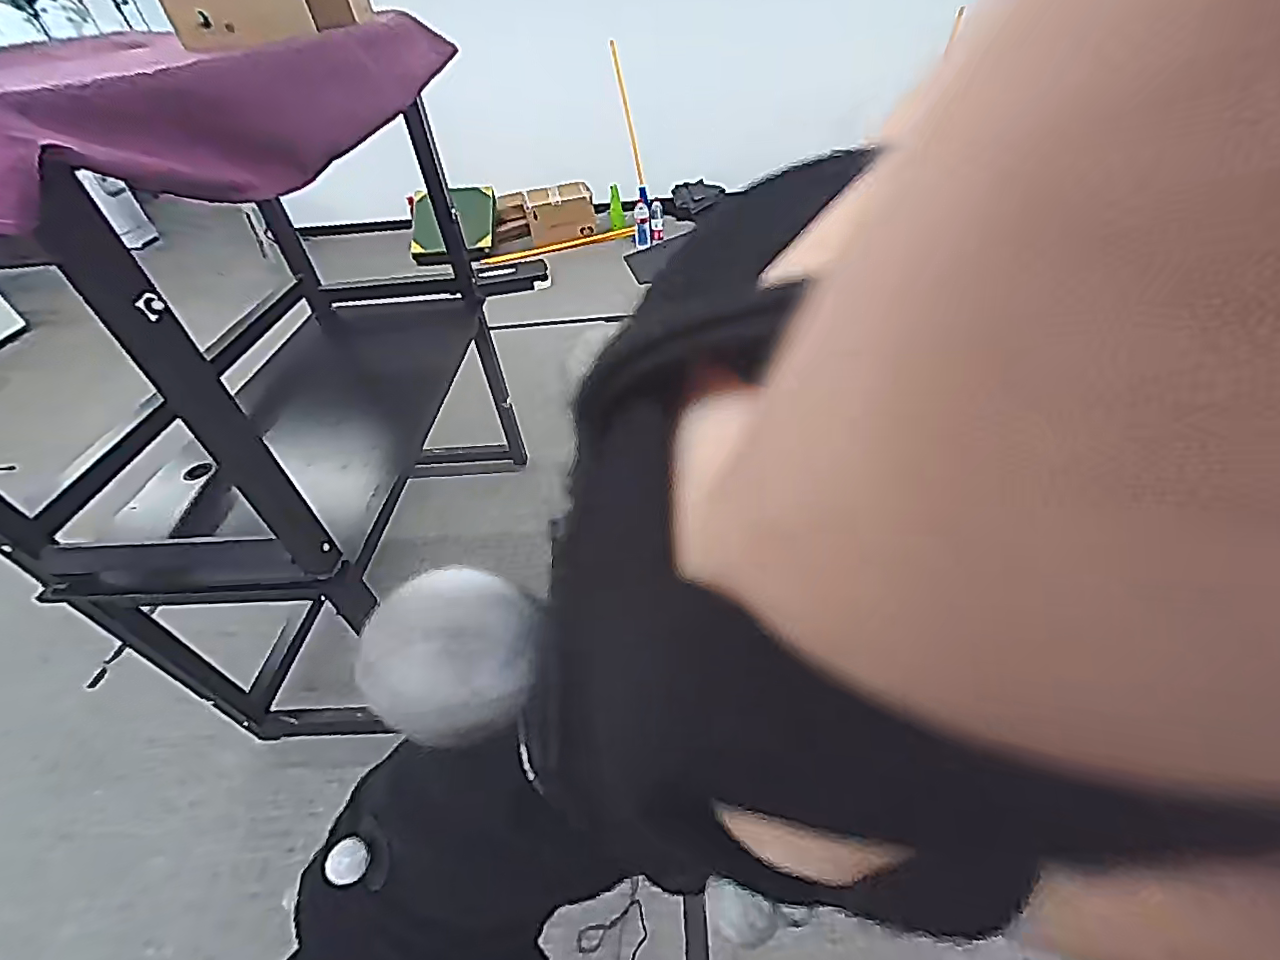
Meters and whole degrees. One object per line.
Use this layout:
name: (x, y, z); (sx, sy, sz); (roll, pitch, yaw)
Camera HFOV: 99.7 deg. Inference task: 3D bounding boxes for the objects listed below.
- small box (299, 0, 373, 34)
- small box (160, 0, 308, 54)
small box: (-0.717, -1.082, 1.172); (0.179, 0.176, 0.168); (-7, 44, -1)
small box: (-0.729, -0.869, 0.954); (0.168, 0.176, 0.179); (-1, 44, 6)
